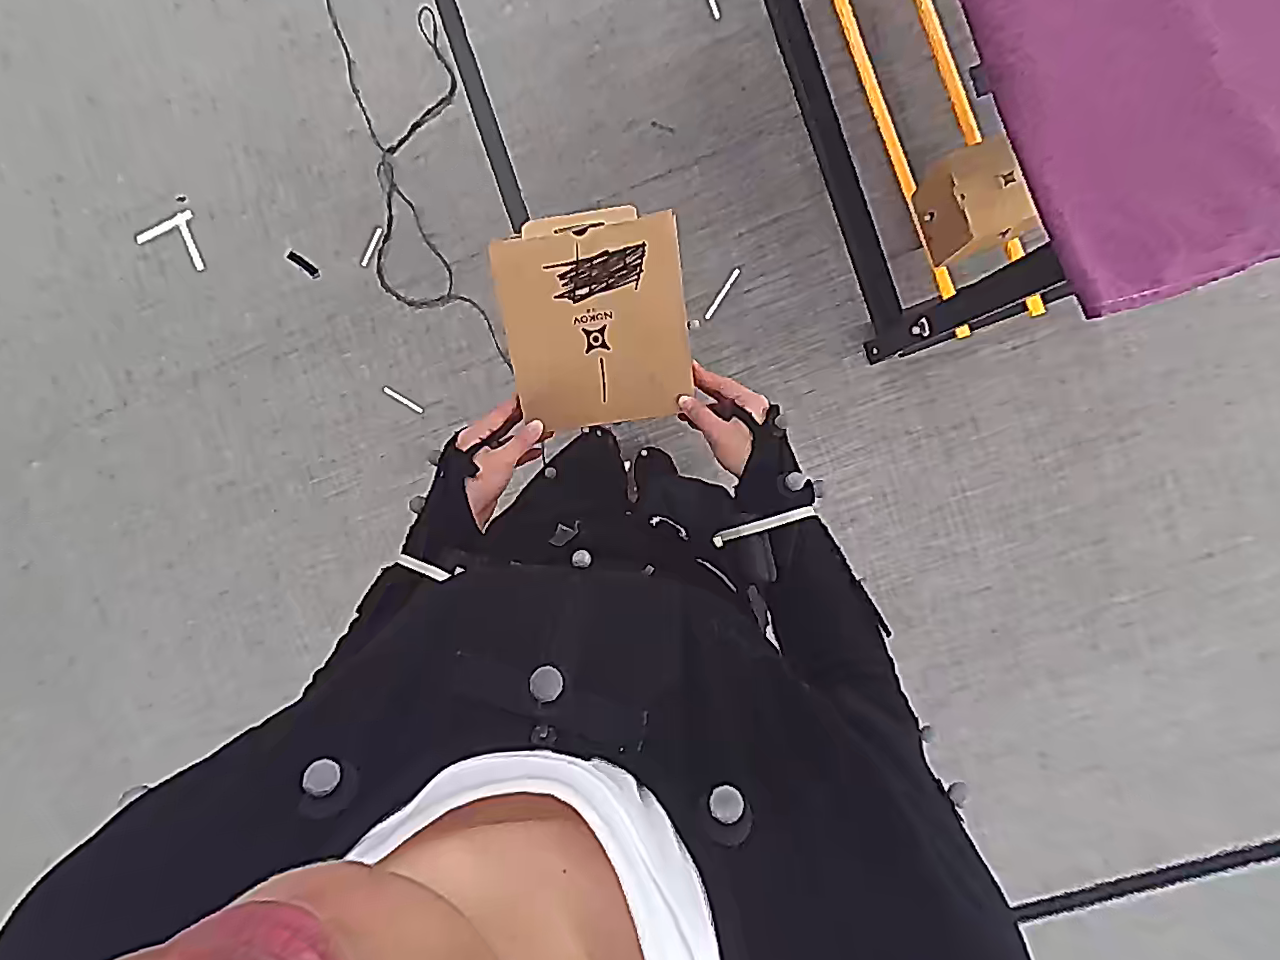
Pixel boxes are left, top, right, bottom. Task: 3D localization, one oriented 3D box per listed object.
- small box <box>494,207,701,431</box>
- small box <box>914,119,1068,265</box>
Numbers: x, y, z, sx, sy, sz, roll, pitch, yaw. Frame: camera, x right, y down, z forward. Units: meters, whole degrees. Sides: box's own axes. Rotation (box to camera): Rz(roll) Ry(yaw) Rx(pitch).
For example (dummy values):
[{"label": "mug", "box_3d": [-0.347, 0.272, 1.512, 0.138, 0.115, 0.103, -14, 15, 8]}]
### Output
[{"label": "small box", "box_3d": [-0.033, -0.157, 0.557, 0.168, 0.176, 0.179, -8, 105, 5]}, {"label": "small box", "box_3d": [0.679, -0.554, 1.066, 0.179, 0.176, 0.168, -20, 91, 8]}]
